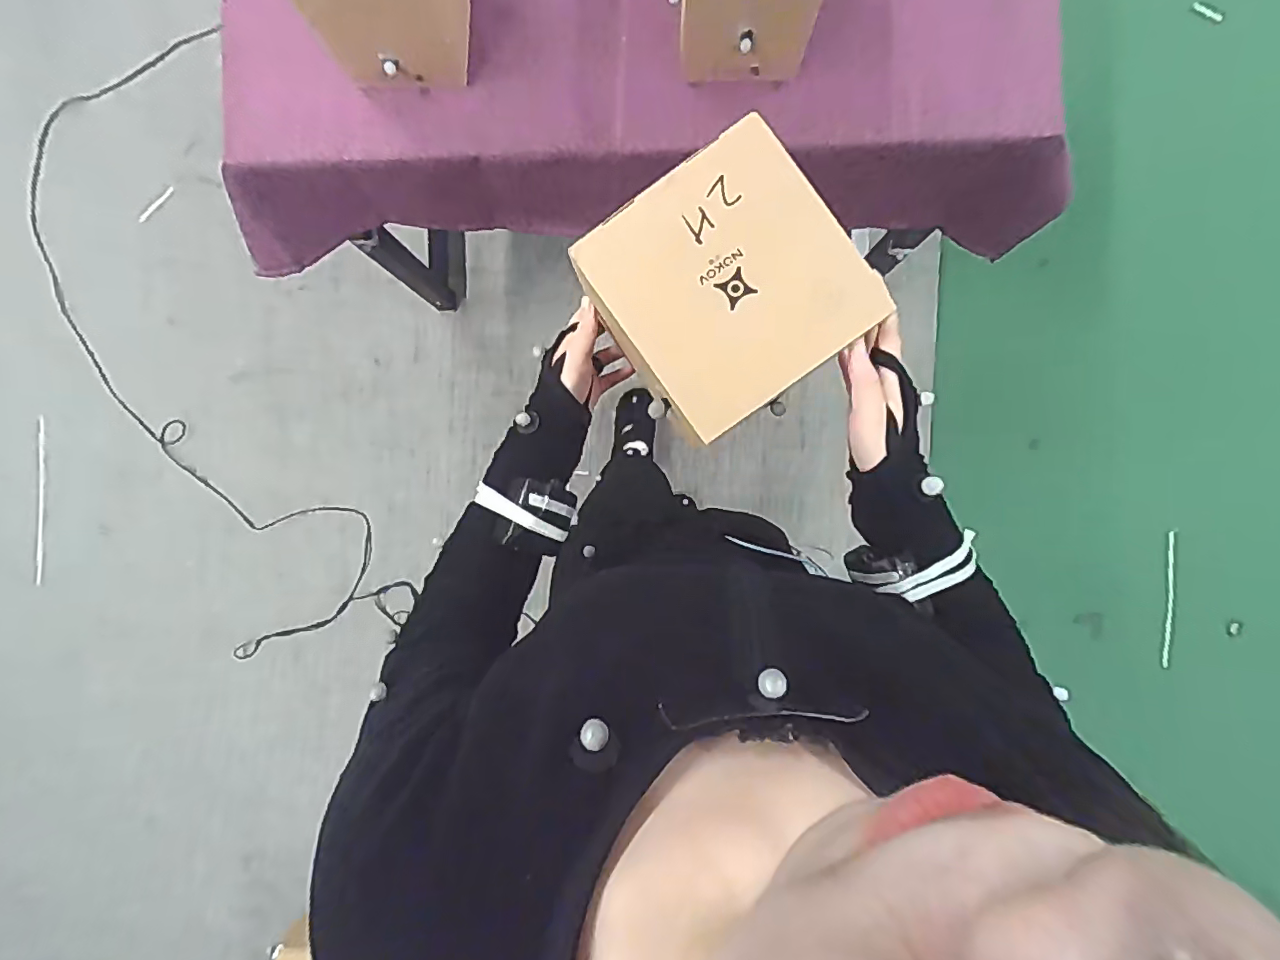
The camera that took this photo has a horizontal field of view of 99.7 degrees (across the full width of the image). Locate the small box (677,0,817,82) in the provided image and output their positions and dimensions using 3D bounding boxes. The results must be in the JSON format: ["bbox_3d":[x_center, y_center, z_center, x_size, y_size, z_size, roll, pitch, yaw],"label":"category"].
[{"bbox_3d":[0.135,-0.649,0.691,0.168,0.176,0.179,0,90,1],"label":"small box"}]

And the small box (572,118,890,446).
[{"bbox_3d":[0.068,-0.143,0.464,0.168,0.176,0.179,-35,89,2],"label":"small box"}]

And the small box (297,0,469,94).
[{"bbox_3d":[-0.331,-0.649,0.702,0.168,0.176,0.179,2,91,1],"label":"small box"}]
